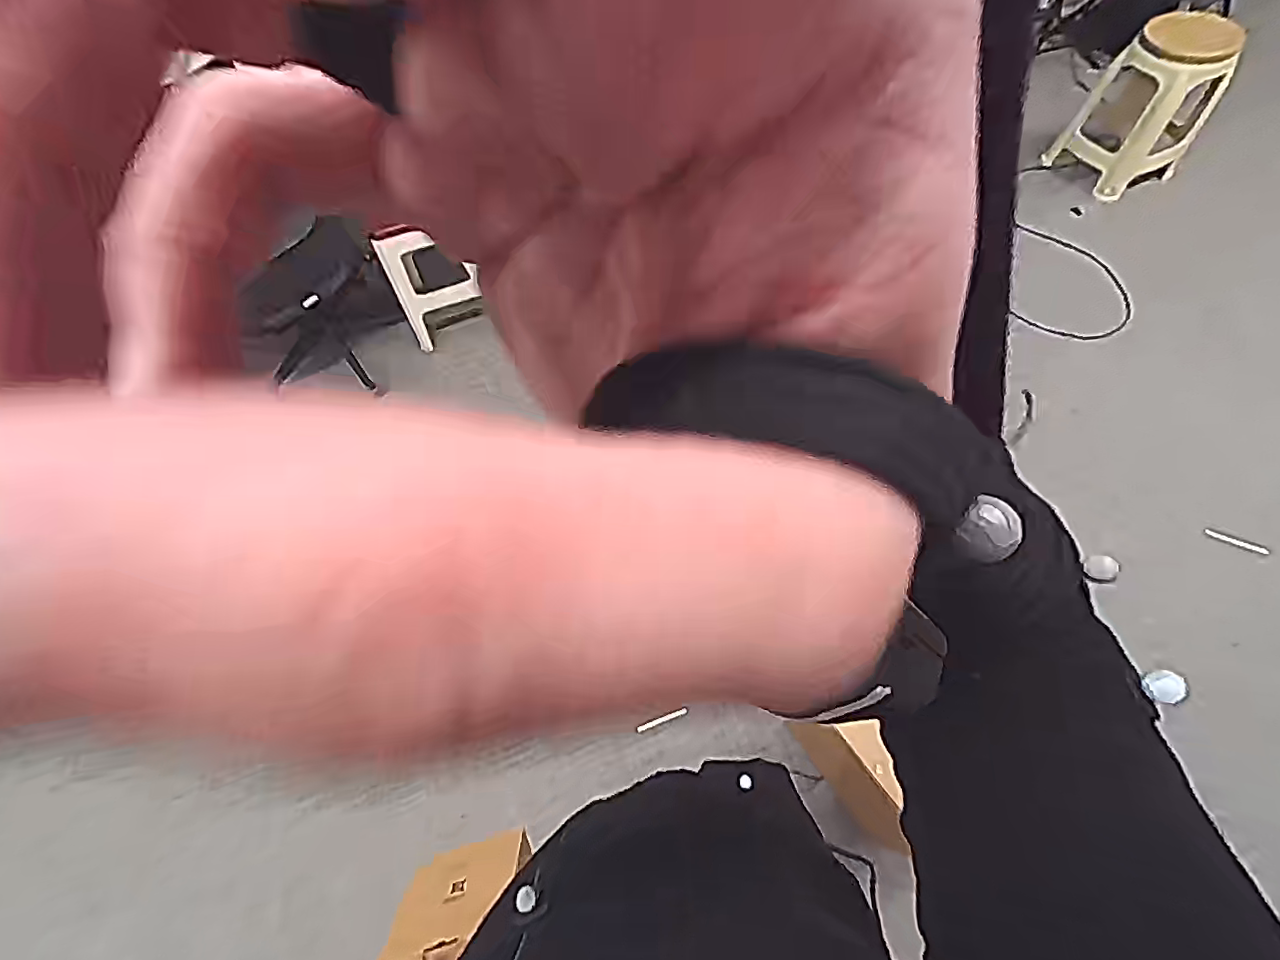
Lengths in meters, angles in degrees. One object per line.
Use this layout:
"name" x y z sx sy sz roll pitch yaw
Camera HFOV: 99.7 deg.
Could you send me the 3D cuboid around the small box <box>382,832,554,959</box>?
"small box" -0.224 0.645 0.745 0.168 0.179 0.176 -16 93 -4
